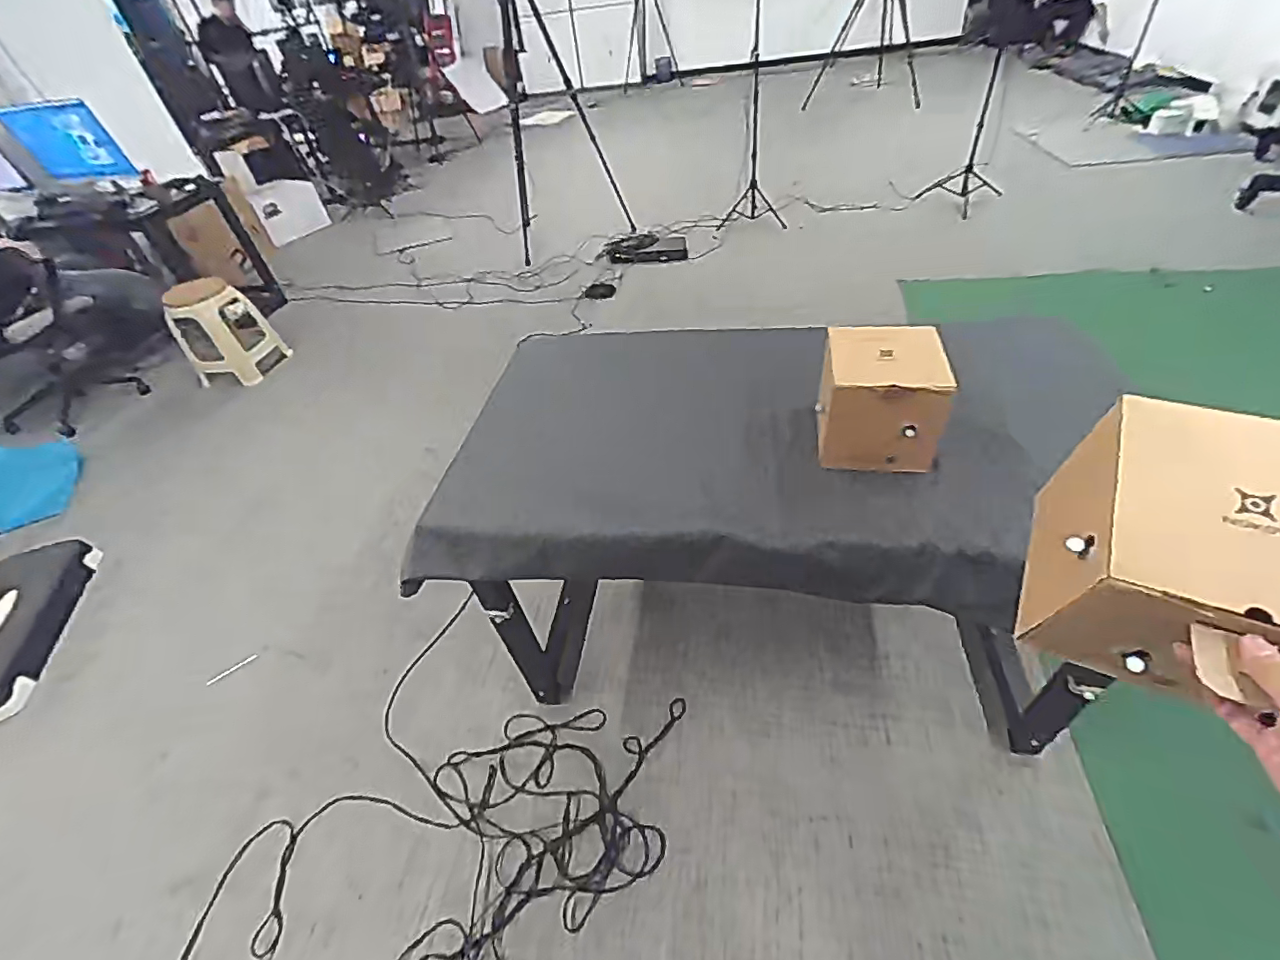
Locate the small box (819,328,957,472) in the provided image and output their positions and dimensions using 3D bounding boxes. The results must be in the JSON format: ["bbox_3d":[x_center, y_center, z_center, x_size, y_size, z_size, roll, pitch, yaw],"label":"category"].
[{"bbox_3d":[0.388,-0.130,0.878,0.168,0.176,0.179,4,44,12],"label":"small box"}]

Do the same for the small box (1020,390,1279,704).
[{"bbox_3d":[0.447,0.059,0.448,0.168,0.176,0.179,17,65,22],"label":"small box"}]
